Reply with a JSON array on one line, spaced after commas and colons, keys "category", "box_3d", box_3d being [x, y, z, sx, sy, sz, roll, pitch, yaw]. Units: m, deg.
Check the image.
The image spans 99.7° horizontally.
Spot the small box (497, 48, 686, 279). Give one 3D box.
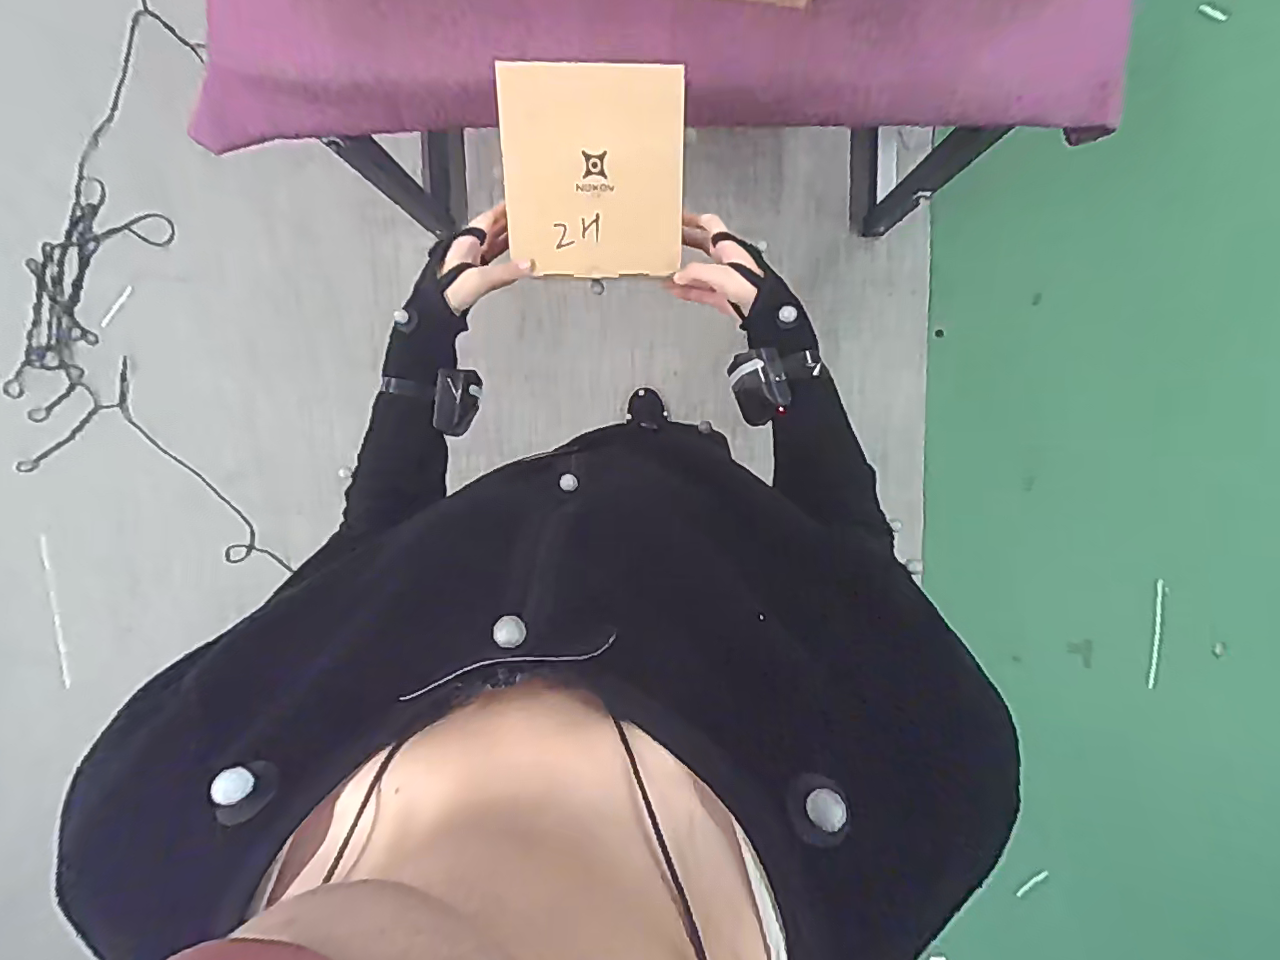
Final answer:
[{"category": "small box", "box_3d": [-0.048, -0.309, 0.565, 0.168, 0.176, 0.179, 0, 108, -3]}]
